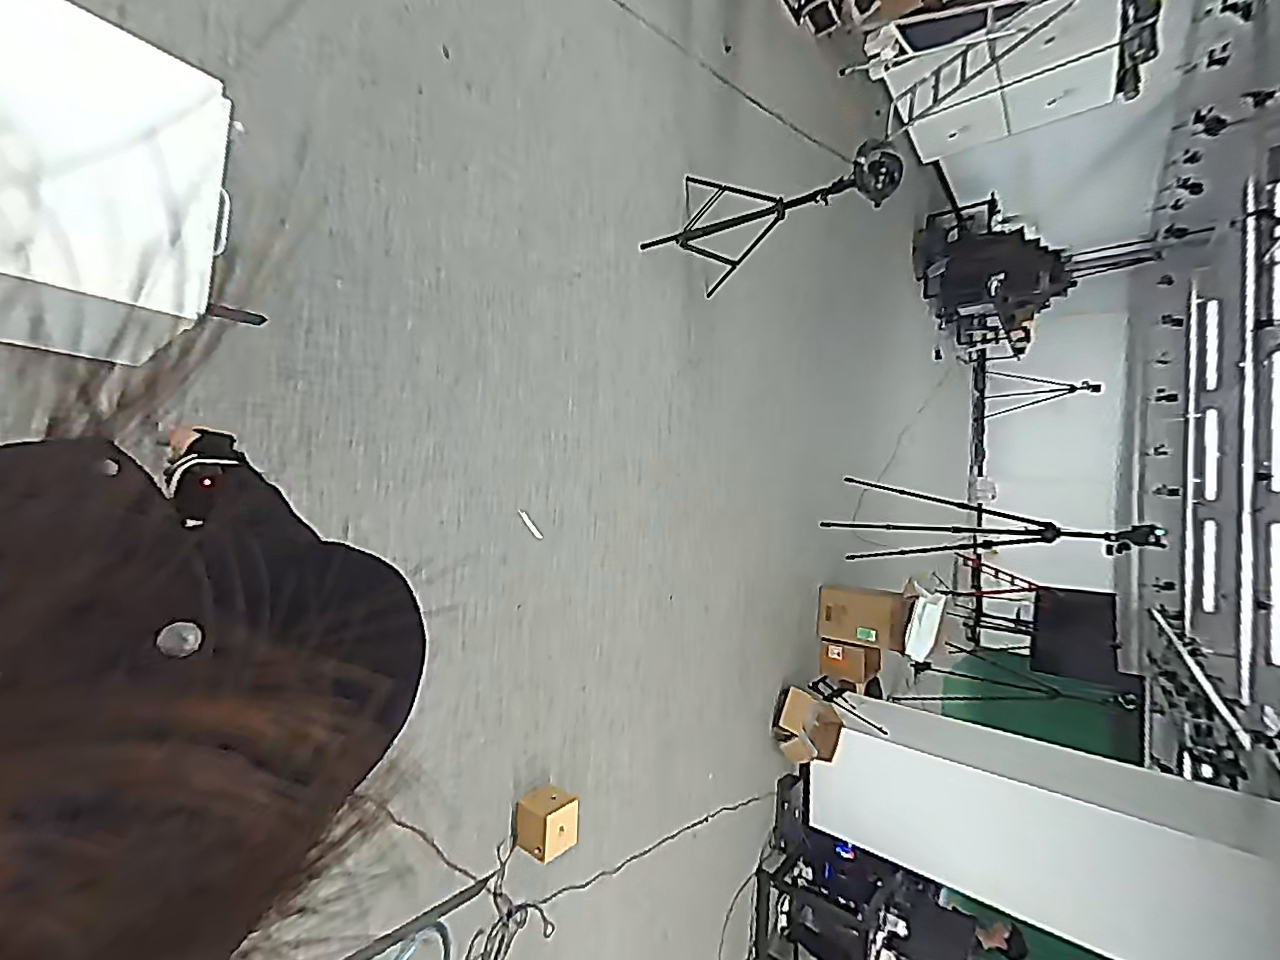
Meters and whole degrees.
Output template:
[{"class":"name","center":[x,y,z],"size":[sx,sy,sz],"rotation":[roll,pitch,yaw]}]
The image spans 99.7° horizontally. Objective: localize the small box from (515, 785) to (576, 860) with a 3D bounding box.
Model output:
[{"class":"small box","center":[-0.367,1.314,2.096],"size":[0.168,0.176,0.179],"rotation":[3,89,-50]}]
